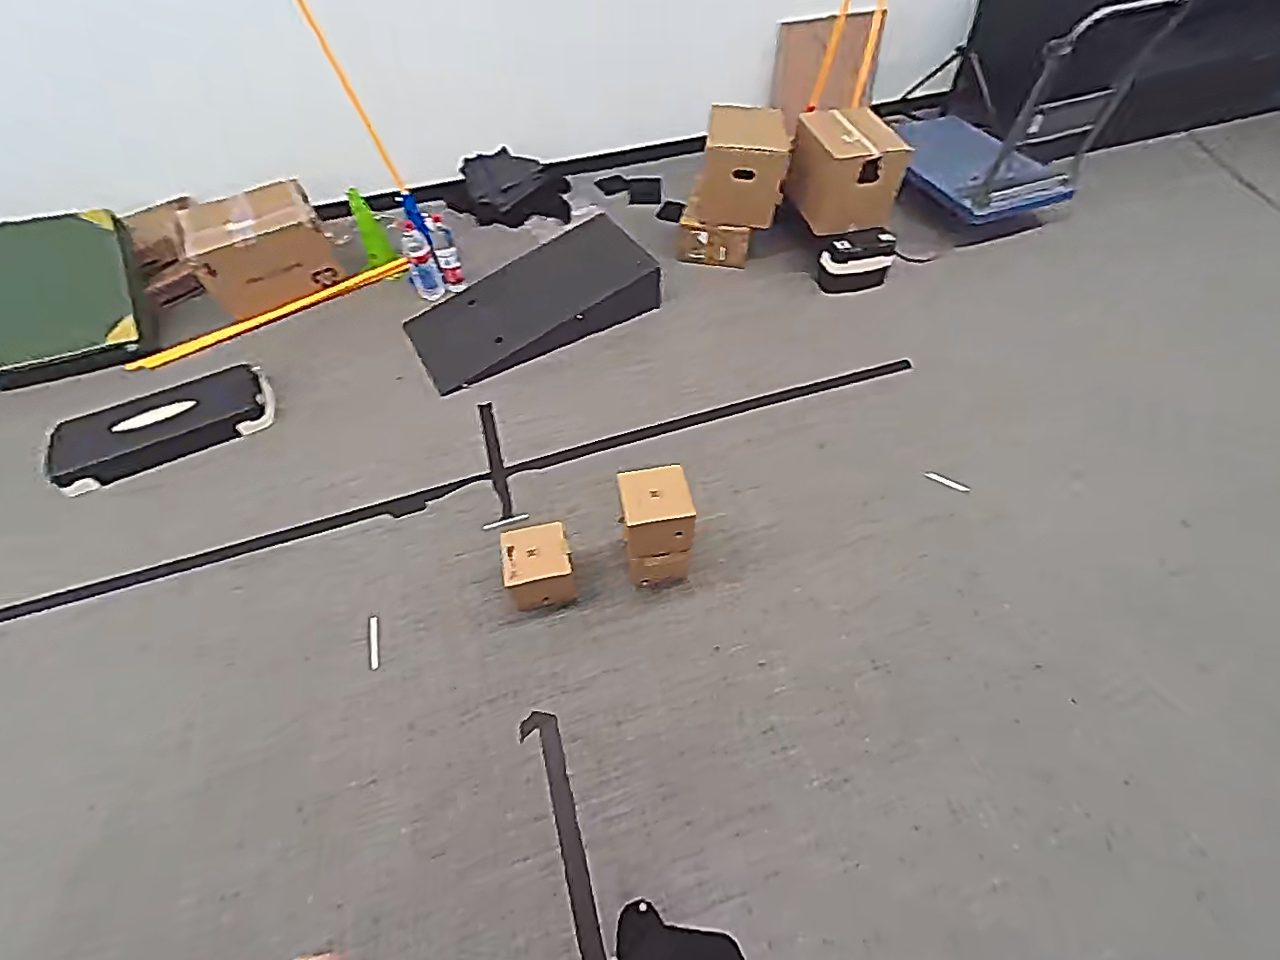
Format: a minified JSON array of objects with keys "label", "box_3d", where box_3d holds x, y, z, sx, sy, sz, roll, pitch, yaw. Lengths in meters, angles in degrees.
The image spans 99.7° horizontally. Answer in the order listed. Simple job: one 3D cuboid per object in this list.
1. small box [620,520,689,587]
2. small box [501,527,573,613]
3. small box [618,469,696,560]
[{"label":"small box","box_3d":[0.040,0.193,1.553,0.168,0.176,0.179,-10,54,-6]},{"label":"small box","box_3d":[-0.284,0.253,1.514,0.179,0.176,0.168,-10,55,-7]},{"label":"small box","box_3d":[0.039,0.094,1.423,0.179,0.176,0.168,-8,53,-5]}]
